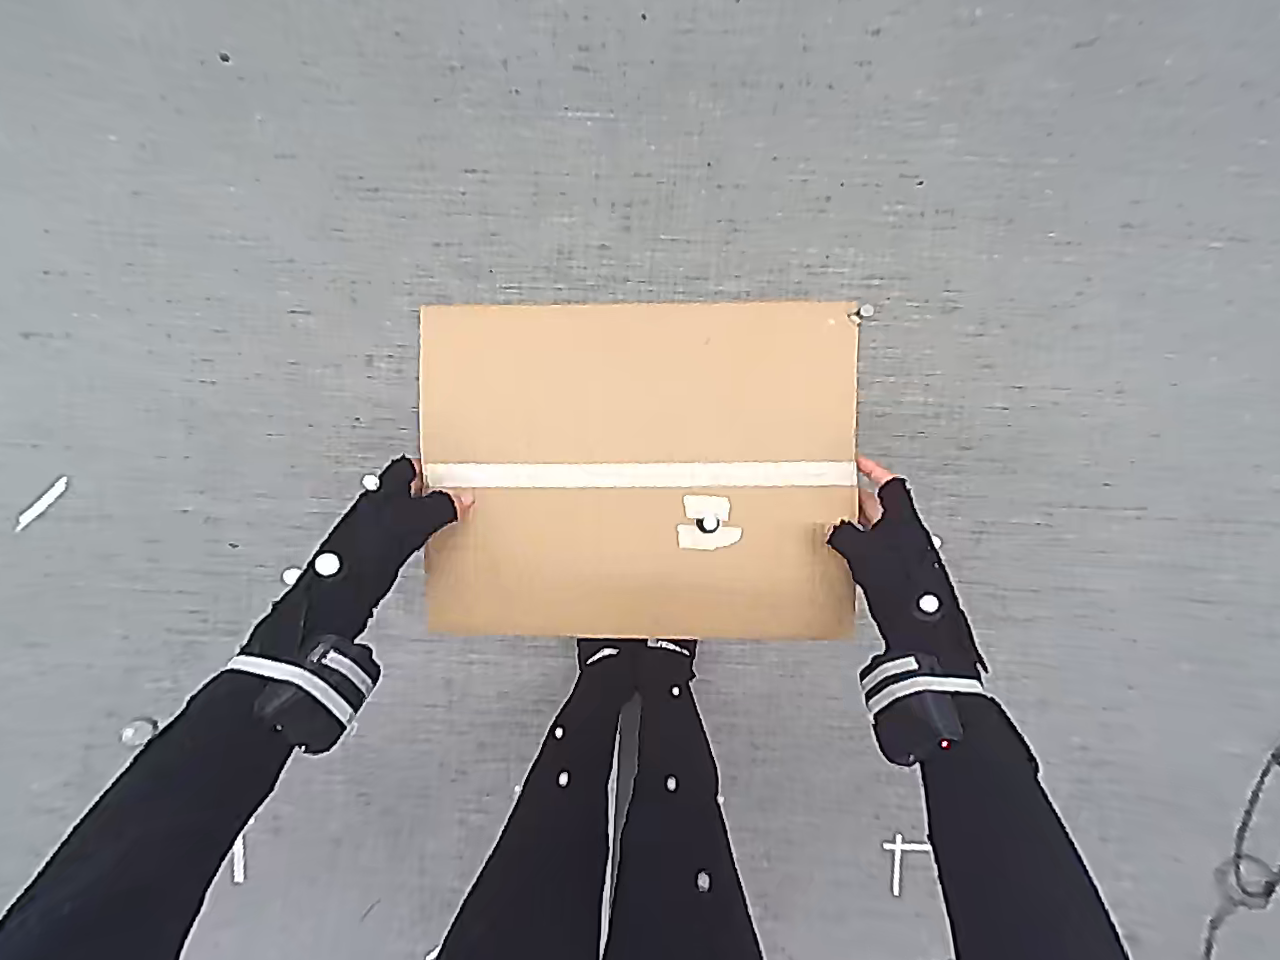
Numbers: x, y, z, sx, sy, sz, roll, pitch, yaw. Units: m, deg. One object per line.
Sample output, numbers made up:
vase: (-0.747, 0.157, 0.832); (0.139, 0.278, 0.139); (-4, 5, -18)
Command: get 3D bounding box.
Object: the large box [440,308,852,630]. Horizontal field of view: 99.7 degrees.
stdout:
large box: (0.007, -0.014, 0.672); (0.408, 0.320, 0.320); (0, 93, 2)
